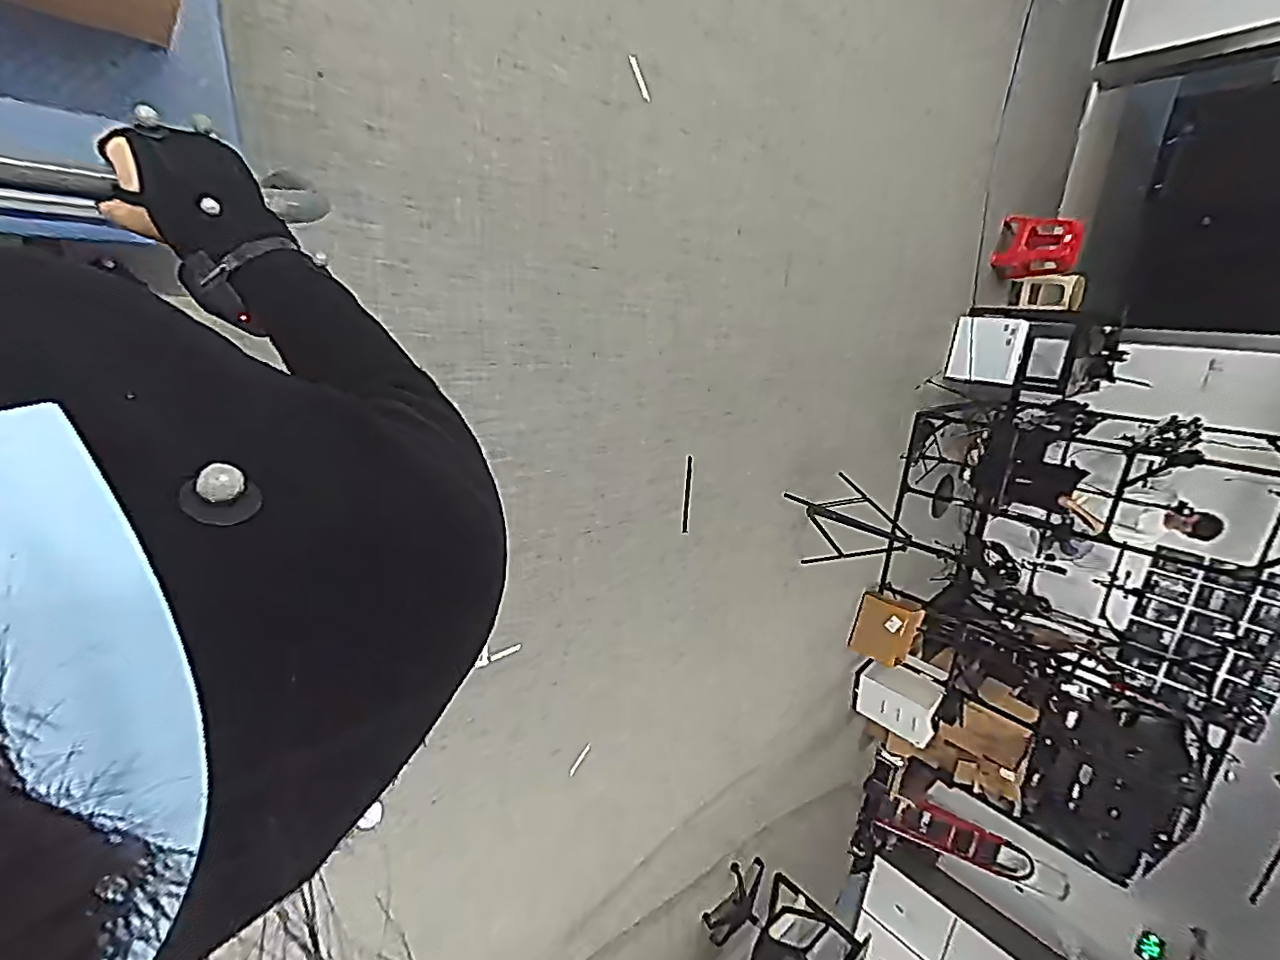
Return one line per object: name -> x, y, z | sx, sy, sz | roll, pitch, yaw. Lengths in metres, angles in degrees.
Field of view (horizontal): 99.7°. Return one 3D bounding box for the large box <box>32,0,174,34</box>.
large box -> -0.832, -0.807, 0.626 | 0.408, 0.320, 0.320 | -12, 112, -41
